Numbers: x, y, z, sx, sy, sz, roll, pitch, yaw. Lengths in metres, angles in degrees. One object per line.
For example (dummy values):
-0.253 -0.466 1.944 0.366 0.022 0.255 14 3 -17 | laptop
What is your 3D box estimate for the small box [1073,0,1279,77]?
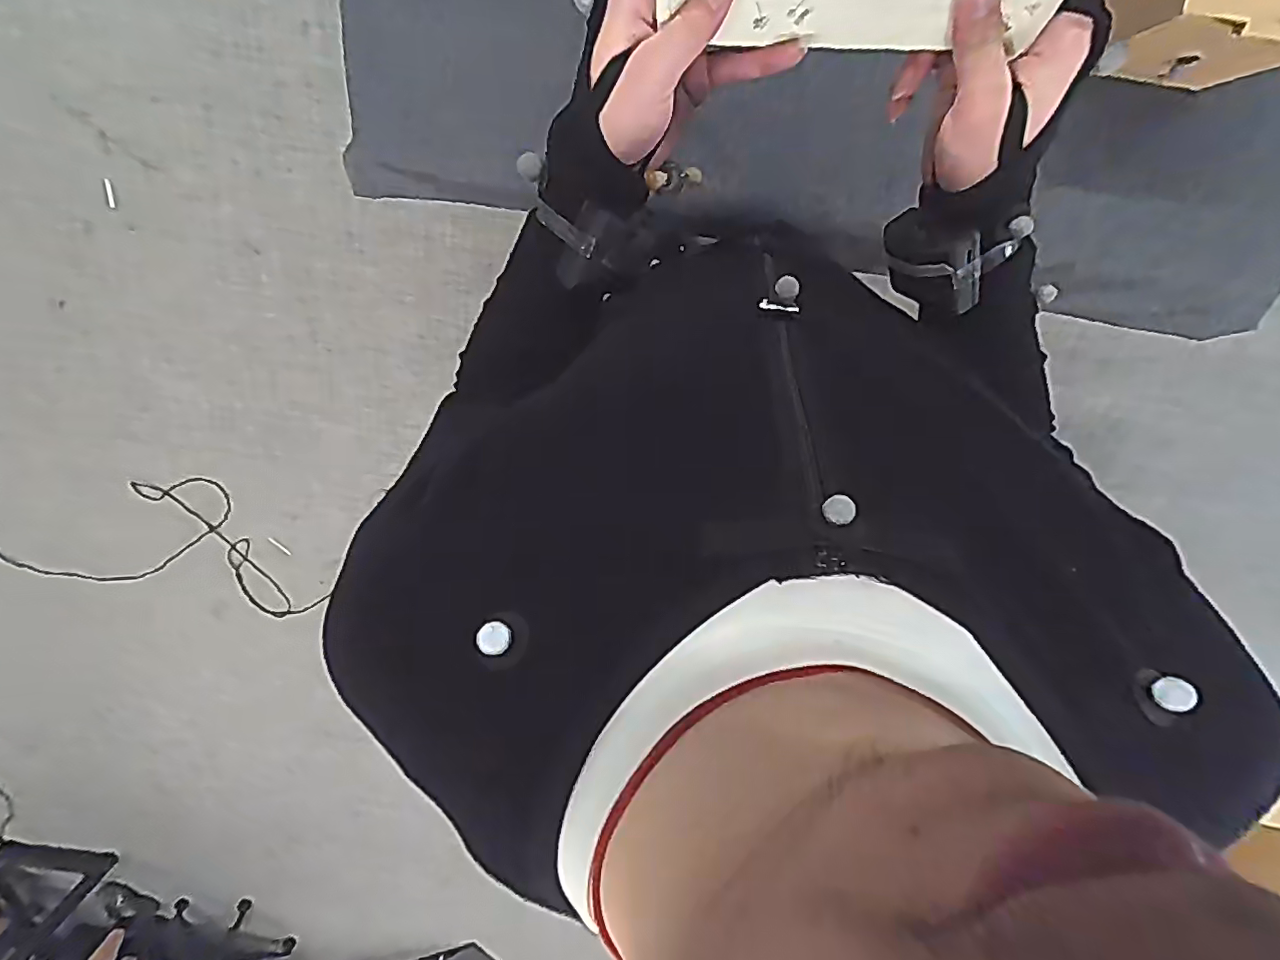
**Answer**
0.564 -0.506 0.507 0.168 0.176 0.179 8 116 0 | small box
